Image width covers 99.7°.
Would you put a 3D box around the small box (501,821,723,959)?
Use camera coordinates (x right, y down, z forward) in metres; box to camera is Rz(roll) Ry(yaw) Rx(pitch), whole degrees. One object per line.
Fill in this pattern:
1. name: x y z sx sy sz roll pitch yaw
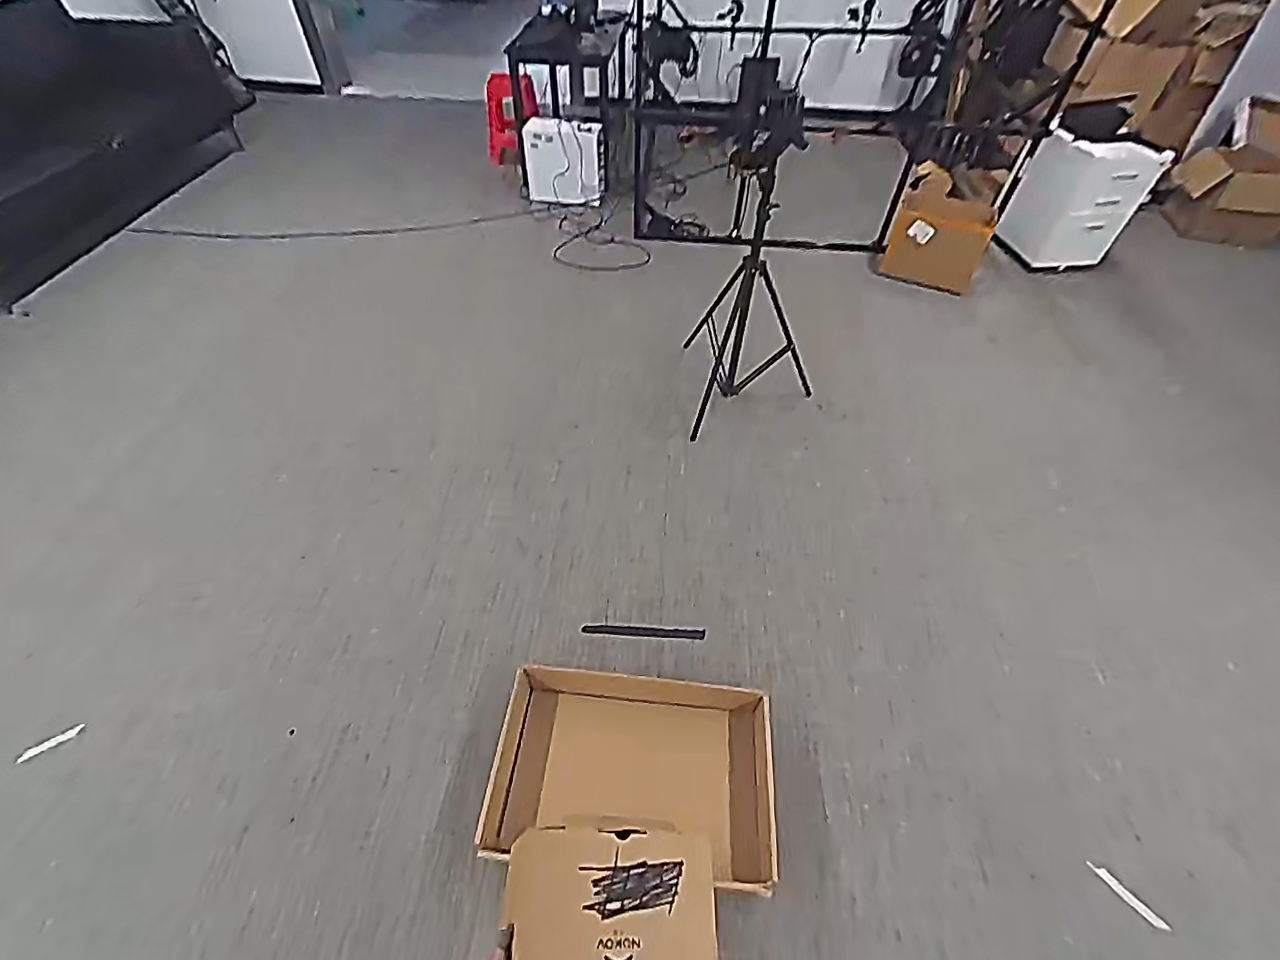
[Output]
1. small box: -0.034 0.421 0.483 0.168 0.176 0.179 10 50 -12
